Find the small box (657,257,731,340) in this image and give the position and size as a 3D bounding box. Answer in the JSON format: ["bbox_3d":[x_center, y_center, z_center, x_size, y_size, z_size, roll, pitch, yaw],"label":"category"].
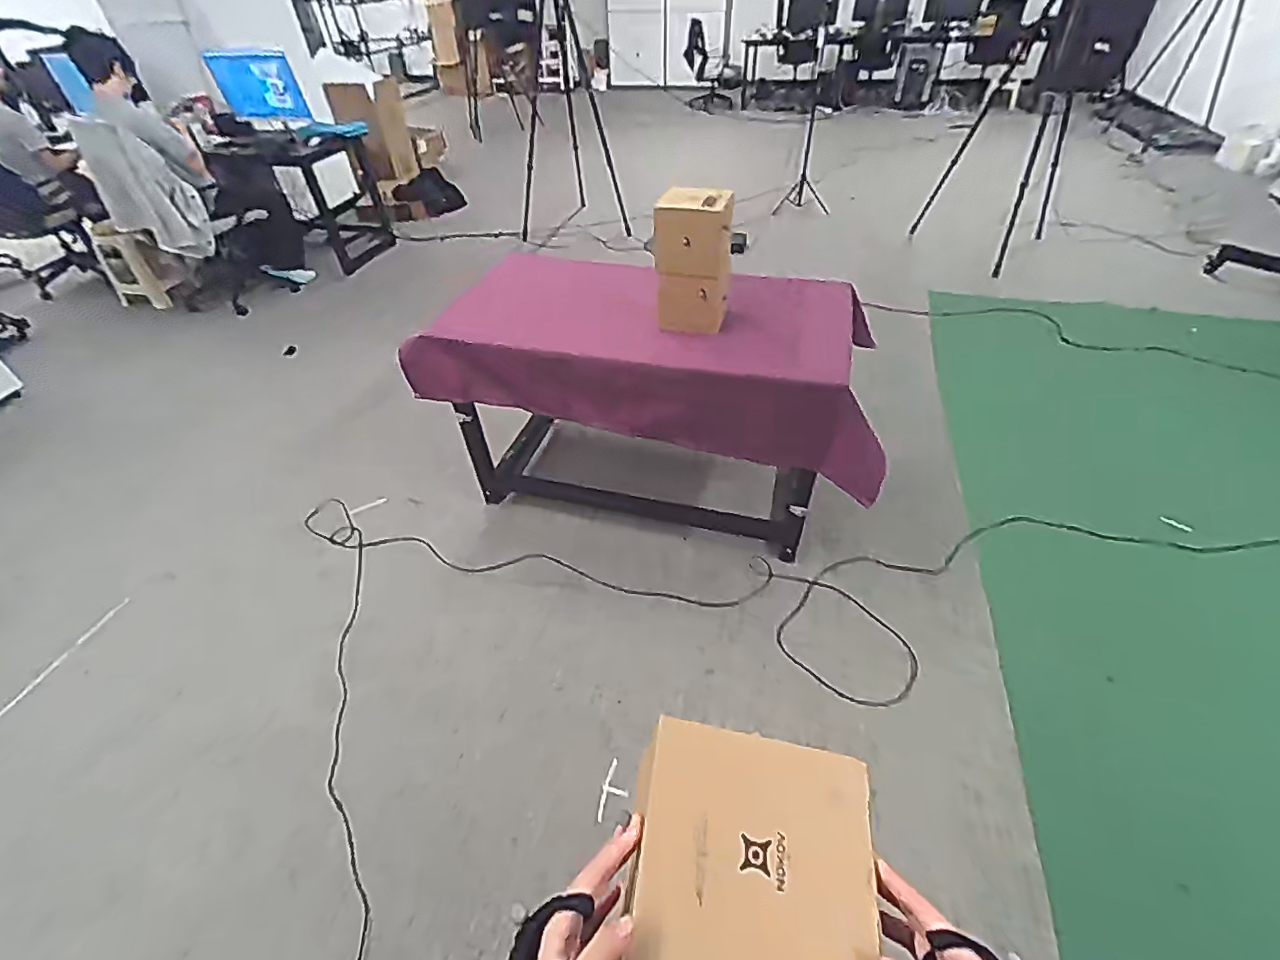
[{"bbox_3d":[0.155,-0.516,1.544,0.179,0.176,0.168,11,44,14],"label":"small box"}]

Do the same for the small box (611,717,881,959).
[{"bbox_3d":[0.080,0.325,0.460,0.179,0.176,0.168,12,51,2],"label":"small box"}]
